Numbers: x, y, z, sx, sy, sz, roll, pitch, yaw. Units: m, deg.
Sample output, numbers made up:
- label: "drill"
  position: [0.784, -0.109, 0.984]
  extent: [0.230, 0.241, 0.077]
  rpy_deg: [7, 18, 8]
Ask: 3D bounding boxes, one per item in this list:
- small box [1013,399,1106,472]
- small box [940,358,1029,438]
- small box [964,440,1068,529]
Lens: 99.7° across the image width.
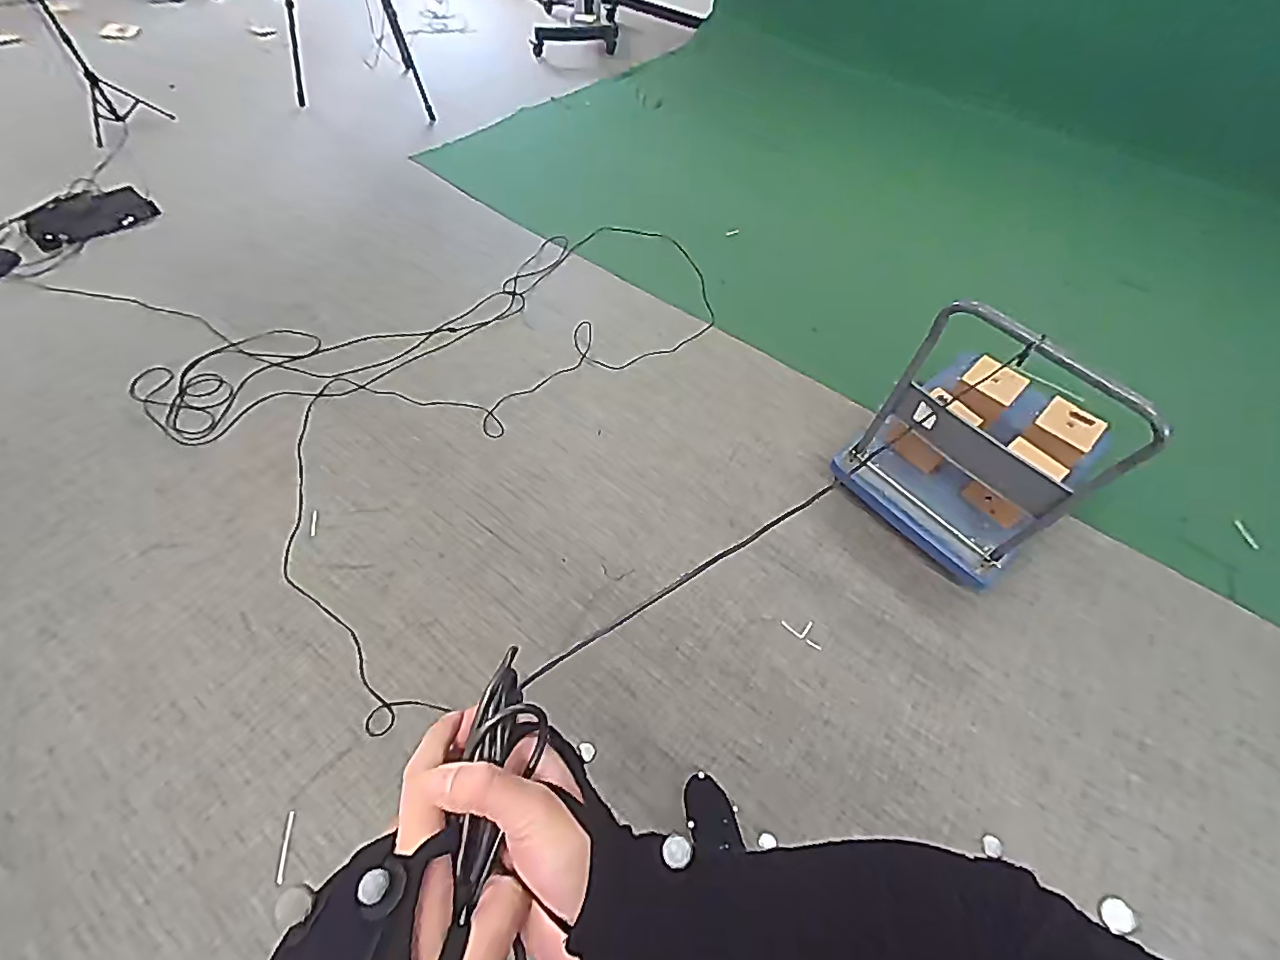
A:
- label: "small box"
  position: [1.344, -0.124, 1.755]
  extent: [0.179, 0.176, 0.168]
  rpy_deg: [-38, 64, -24]
- label: "small box"
  position: [1.169, -0.277, 1.851]
  extent: [0.179, 0.176, 0.168]
  rpy_deg: [-37, 66, -25]
- label: "small box"
  position: [1.137, 0.016, 1.649]
  extent: [0.179, 0.176, 0.168]
  rpy_deg: [-33, 63, -23]
